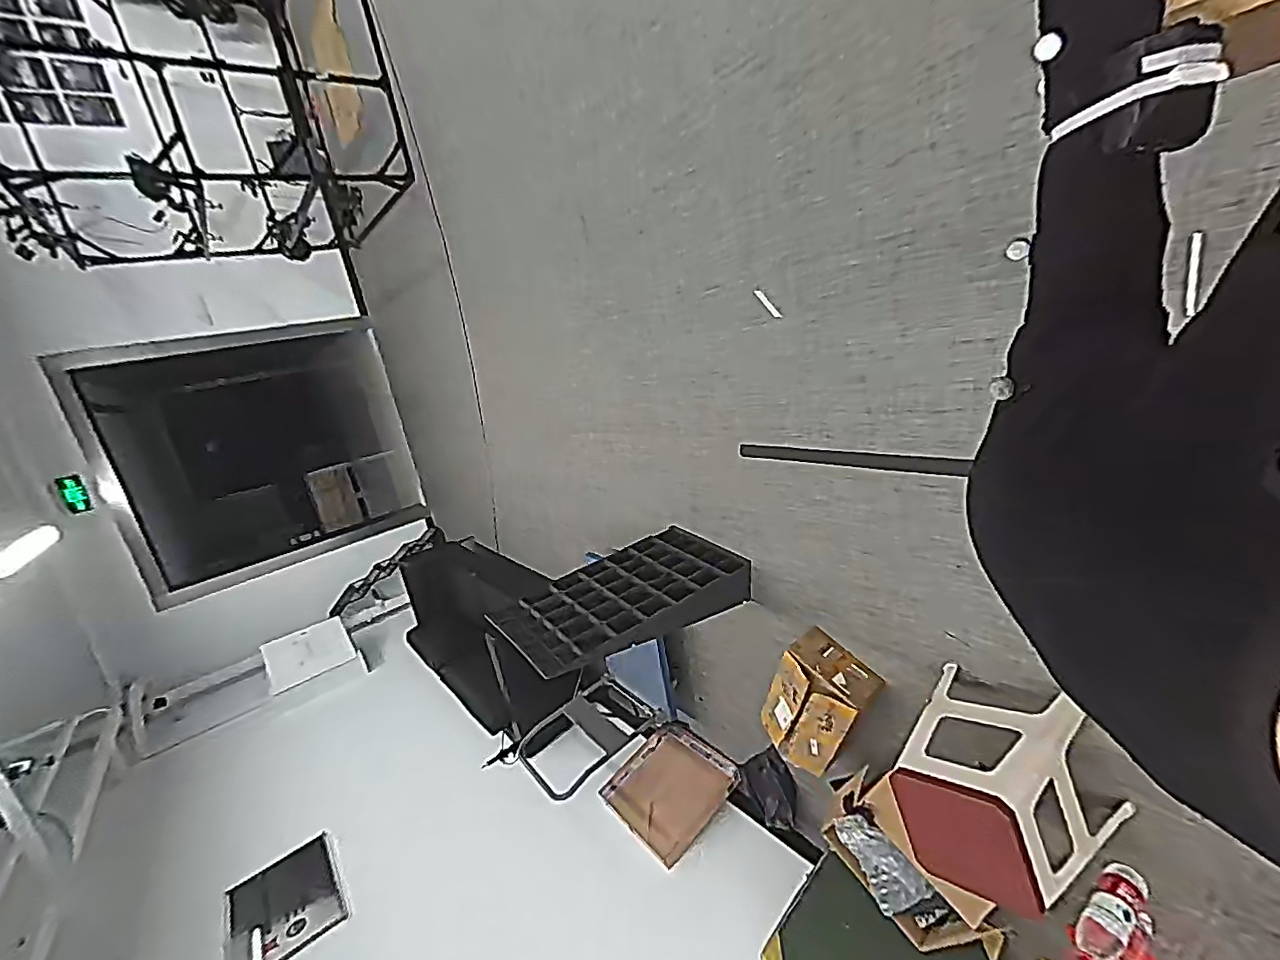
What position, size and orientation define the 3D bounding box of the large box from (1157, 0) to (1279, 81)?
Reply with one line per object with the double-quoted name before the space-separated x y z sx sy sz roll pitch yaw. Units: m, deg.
"large box" 0.552 -0.486 0.271 0.408 0.320 0.320 4 113 50
